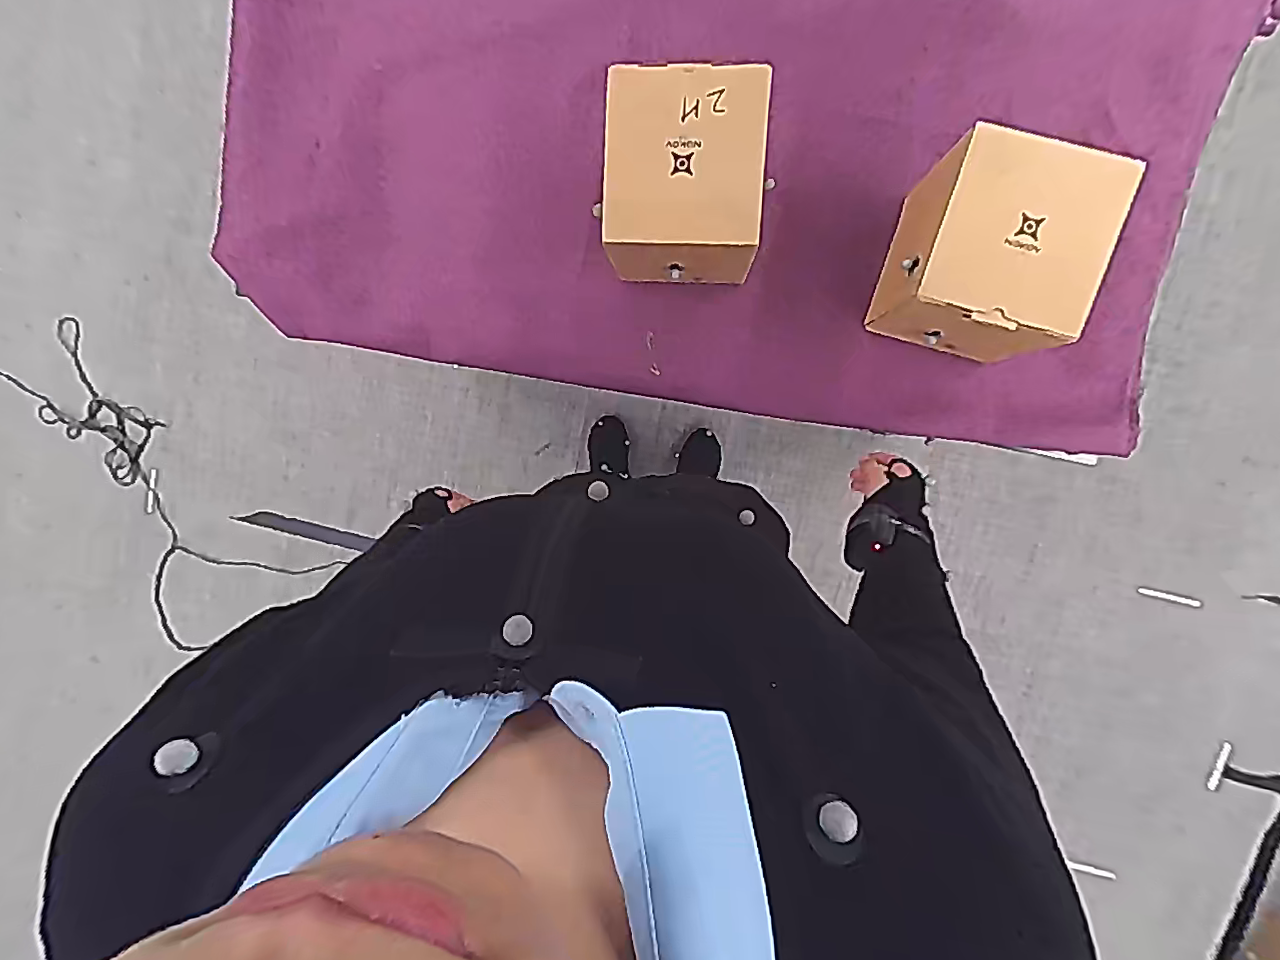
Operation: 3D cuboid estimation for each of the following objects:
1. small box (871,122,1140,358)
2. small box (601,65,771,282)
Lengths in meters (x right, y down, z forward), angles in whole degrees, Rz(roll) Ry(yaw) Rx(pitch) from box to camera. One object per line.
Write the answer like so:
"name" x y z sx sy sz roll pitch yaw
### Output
"small box" 0.386 -0.251 0.610 0.168 0.176 0.179 17 97 4
"small box" 0.052 -0.339 0.630 0.168 0.176 0.179 4 96 4
